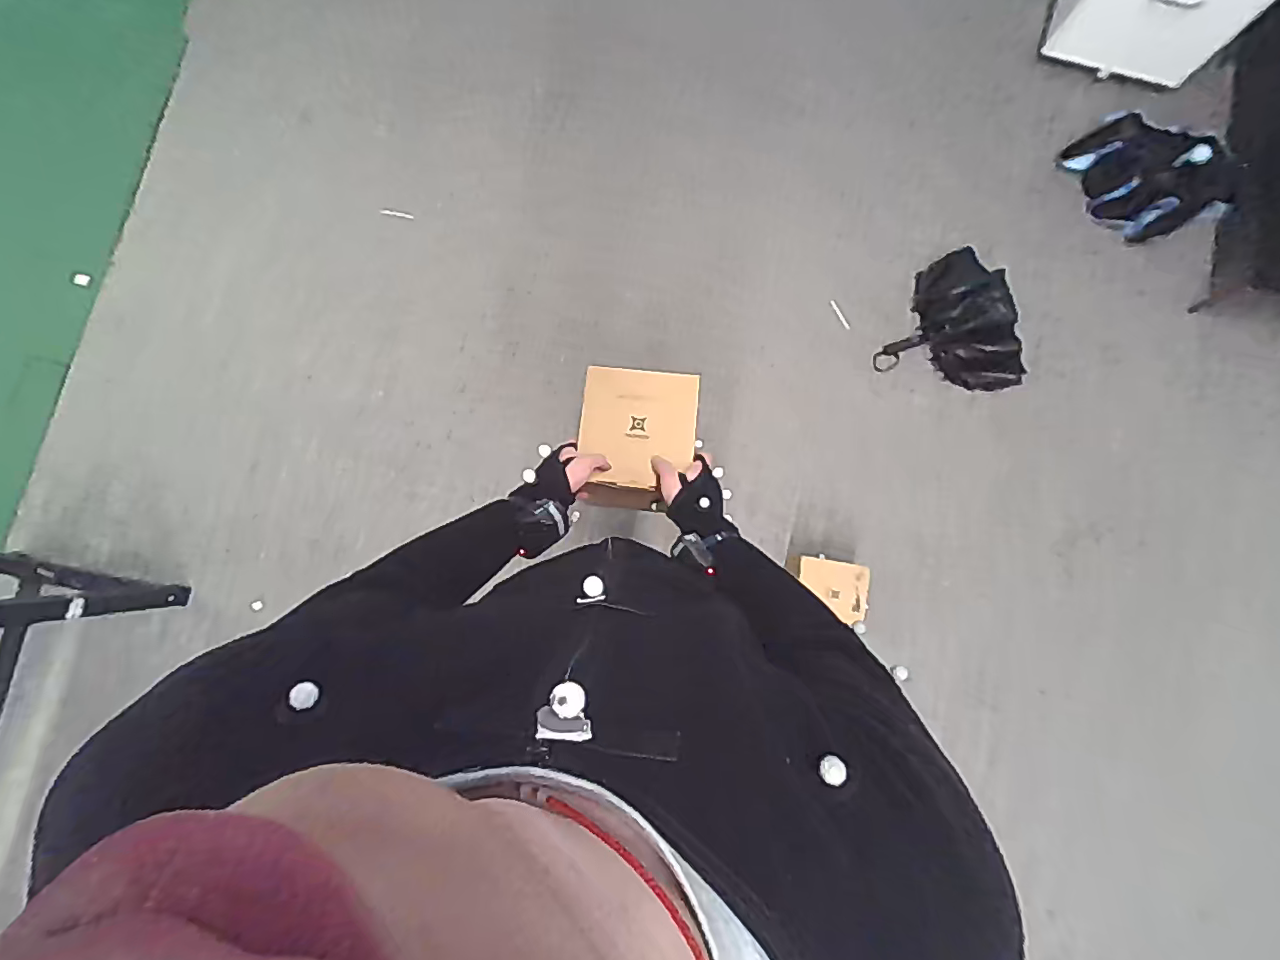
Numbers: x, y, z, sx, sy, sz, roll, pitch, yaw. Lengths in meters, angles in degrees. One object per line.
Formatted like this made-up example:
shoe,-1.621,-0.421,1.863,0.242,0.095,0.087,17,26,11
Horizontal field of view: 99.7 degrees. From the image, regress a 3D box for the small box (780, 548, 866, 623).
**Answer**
small box,0.487,0.280,1.463,0.179,0.176,0.168,9,84,4
